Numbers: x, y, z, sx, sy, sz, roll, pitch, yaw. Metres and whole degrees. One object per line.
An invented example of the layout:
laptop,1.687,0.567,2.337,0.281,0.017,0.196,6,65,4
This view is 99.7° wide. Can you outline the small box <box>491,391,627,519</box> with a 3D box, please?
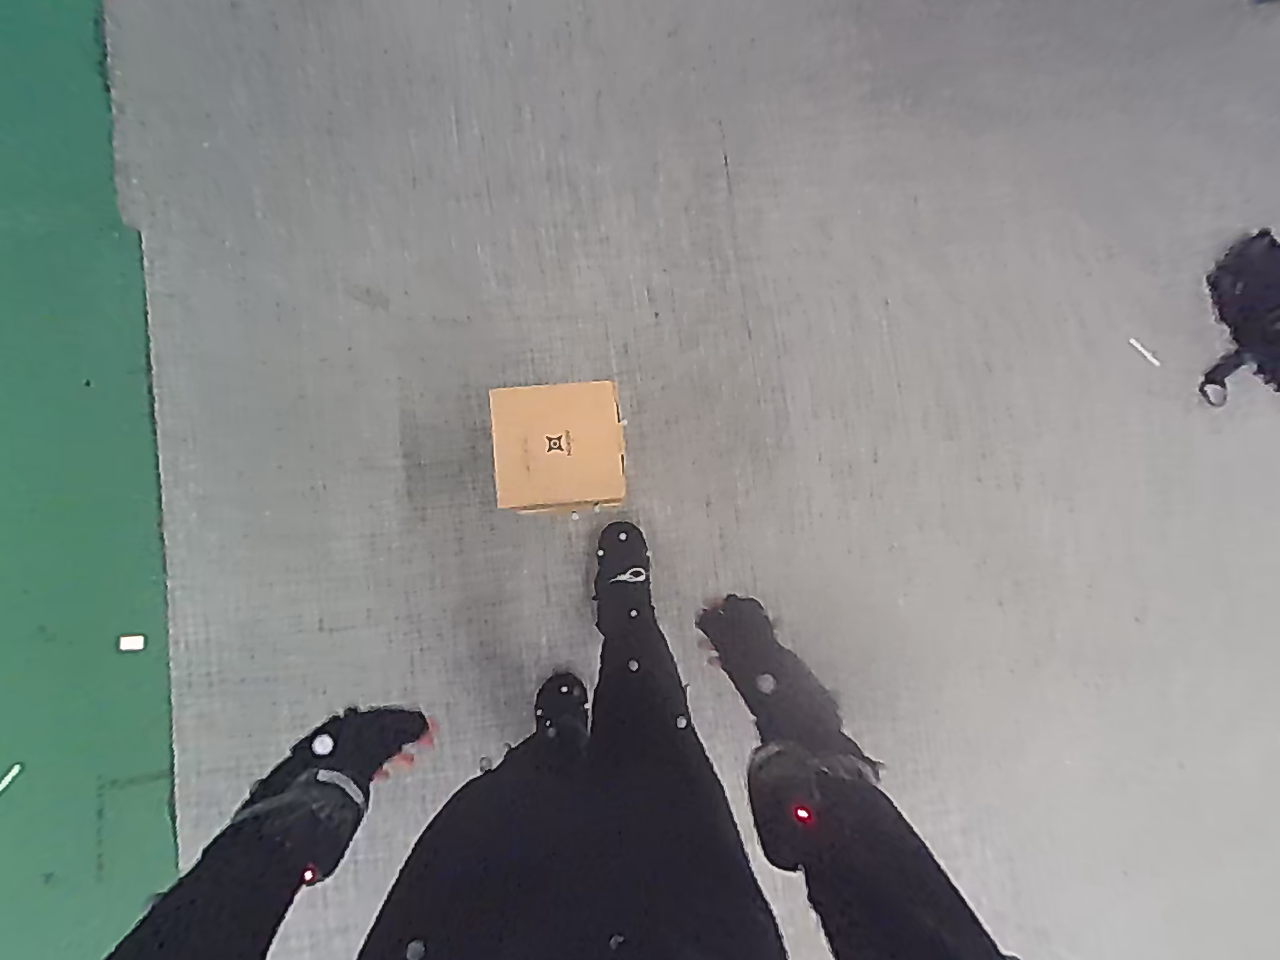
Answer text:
small box,-0.116,-0.030,0.822,0.179,0.176,0.168,-6,85,-3
